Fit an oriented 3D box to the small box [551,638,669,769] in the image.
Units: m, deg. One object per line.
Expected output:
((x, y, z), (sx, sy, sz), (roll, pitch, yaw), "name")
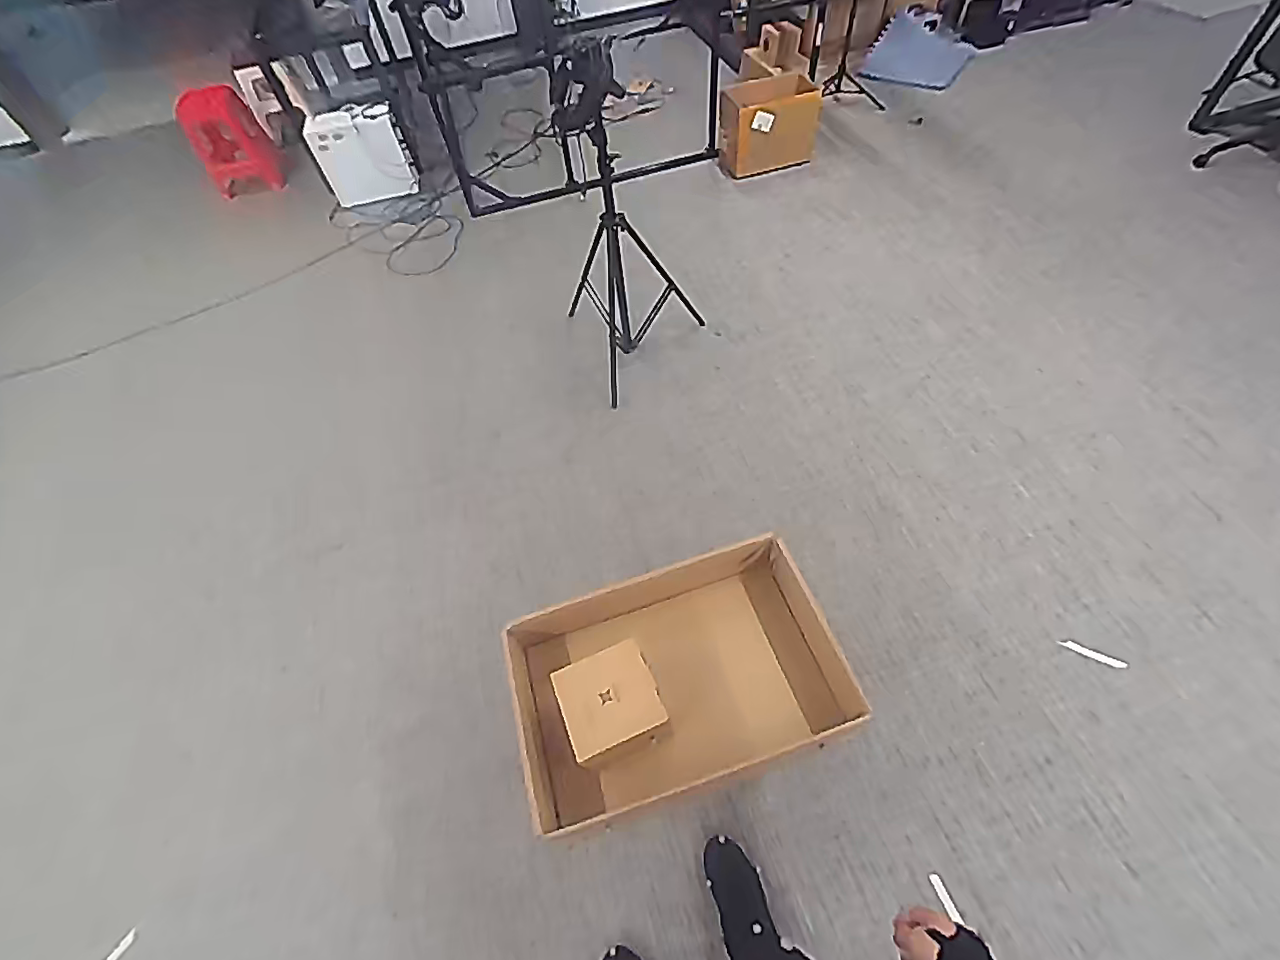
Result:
((-0.052, 0.435, 1.046), (0.179, 0.176, 0.168), (-22, 56, -8), "small box")
